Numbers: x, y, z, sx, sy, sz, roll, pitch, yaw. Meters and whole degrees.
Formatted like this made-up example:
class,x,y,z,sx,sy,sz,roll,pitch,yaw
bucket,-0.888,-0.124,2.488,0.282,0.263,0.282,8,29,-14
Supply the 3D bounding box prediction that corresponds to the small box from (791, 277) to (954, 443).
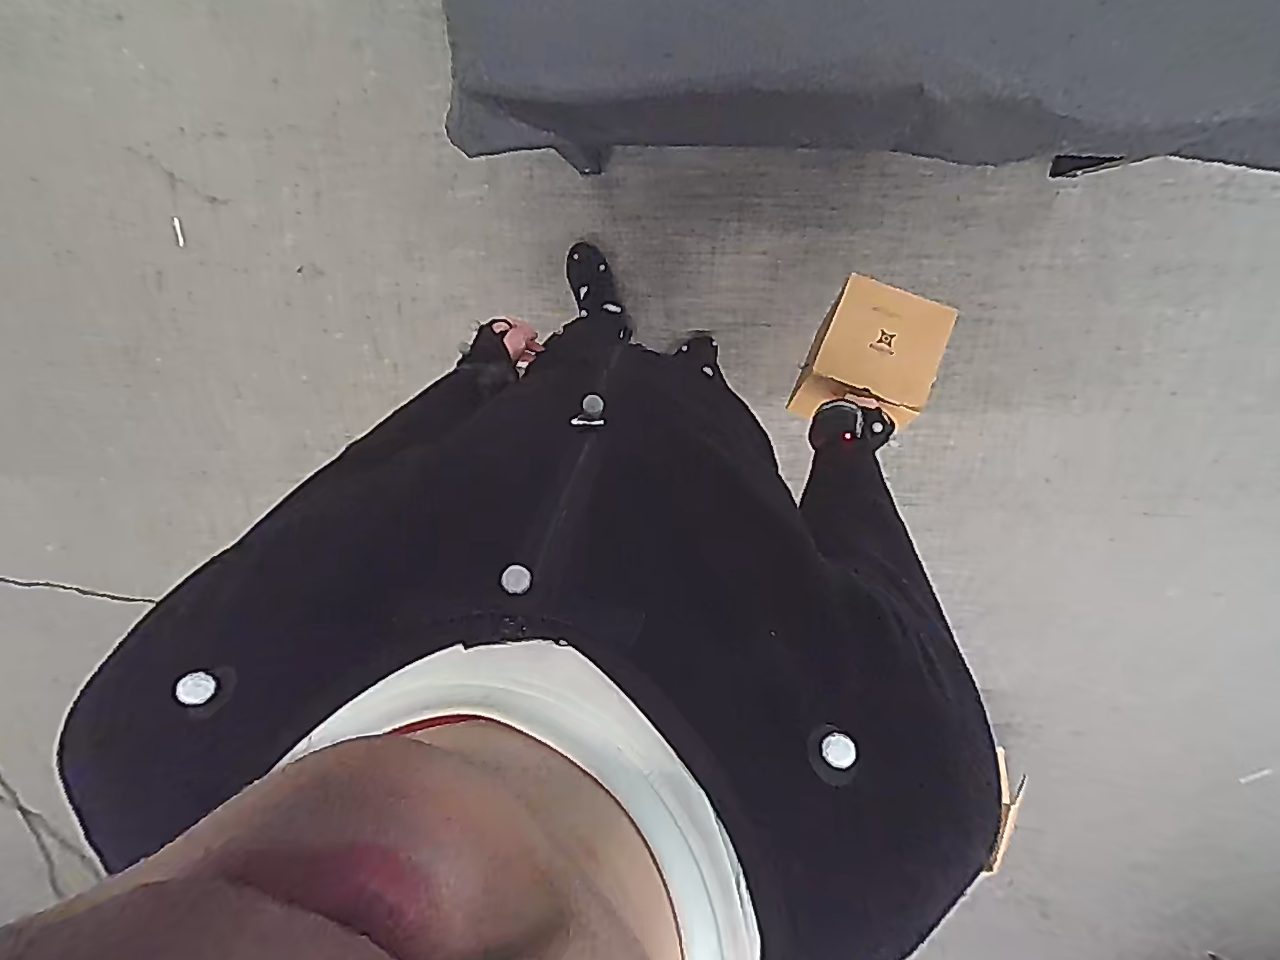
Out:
class,x,y,z,sx,sy,sz,roll,pitch,yaw
small box,0.358,-0.180,0.868,0.168,0.176,0.179,24,78,6
